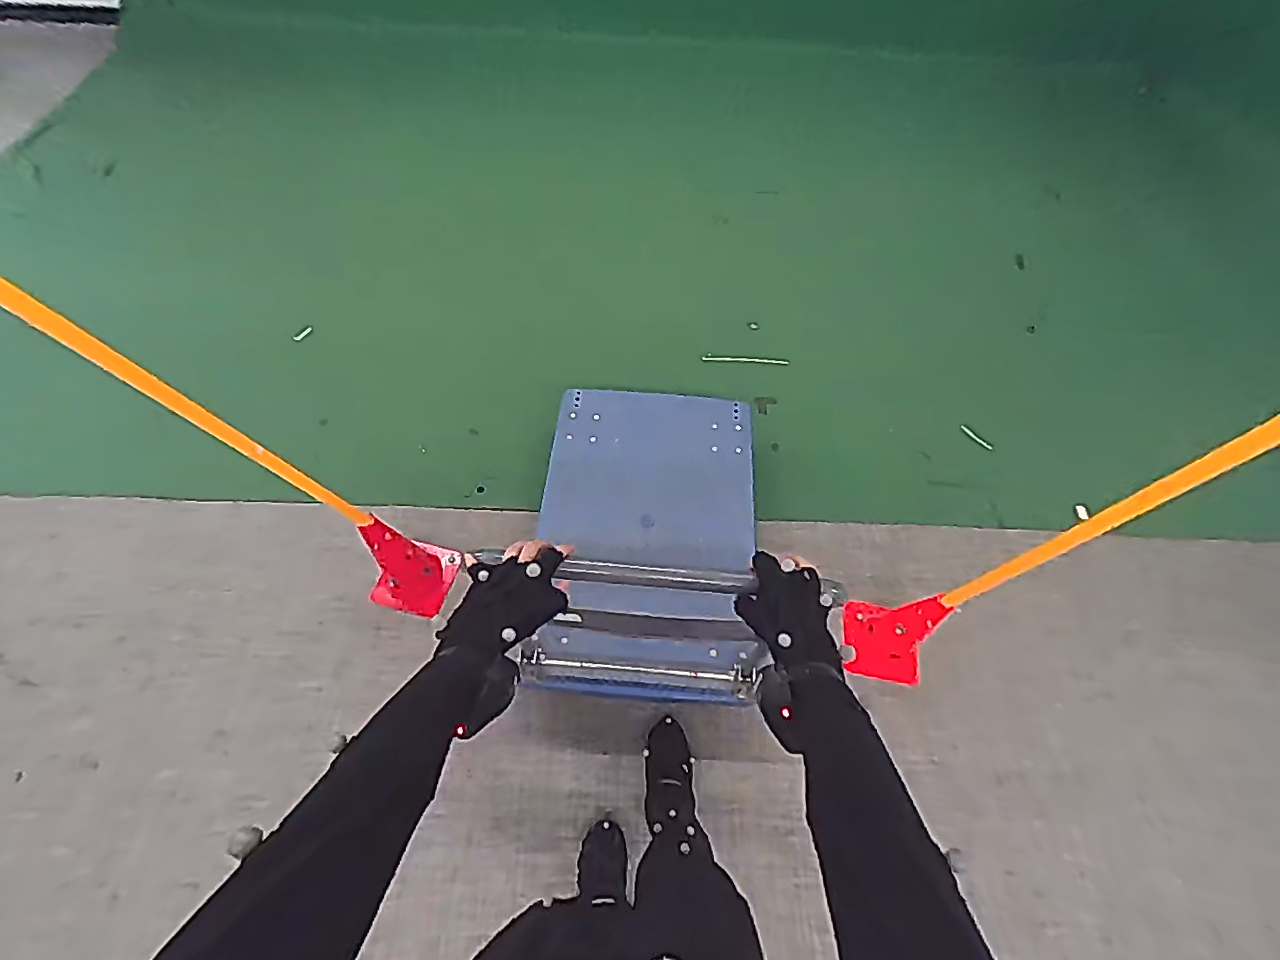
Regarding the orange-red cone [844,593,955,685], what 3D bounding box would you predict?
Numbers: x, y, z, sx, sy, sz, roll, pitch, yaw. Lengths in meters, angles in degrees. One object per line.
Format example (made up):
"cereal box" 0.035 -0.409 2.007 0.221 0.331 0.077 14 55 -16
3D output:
"orange-red cone" 0.659 0.352 1.316 0.198 0.360 0.199 12 60 6
